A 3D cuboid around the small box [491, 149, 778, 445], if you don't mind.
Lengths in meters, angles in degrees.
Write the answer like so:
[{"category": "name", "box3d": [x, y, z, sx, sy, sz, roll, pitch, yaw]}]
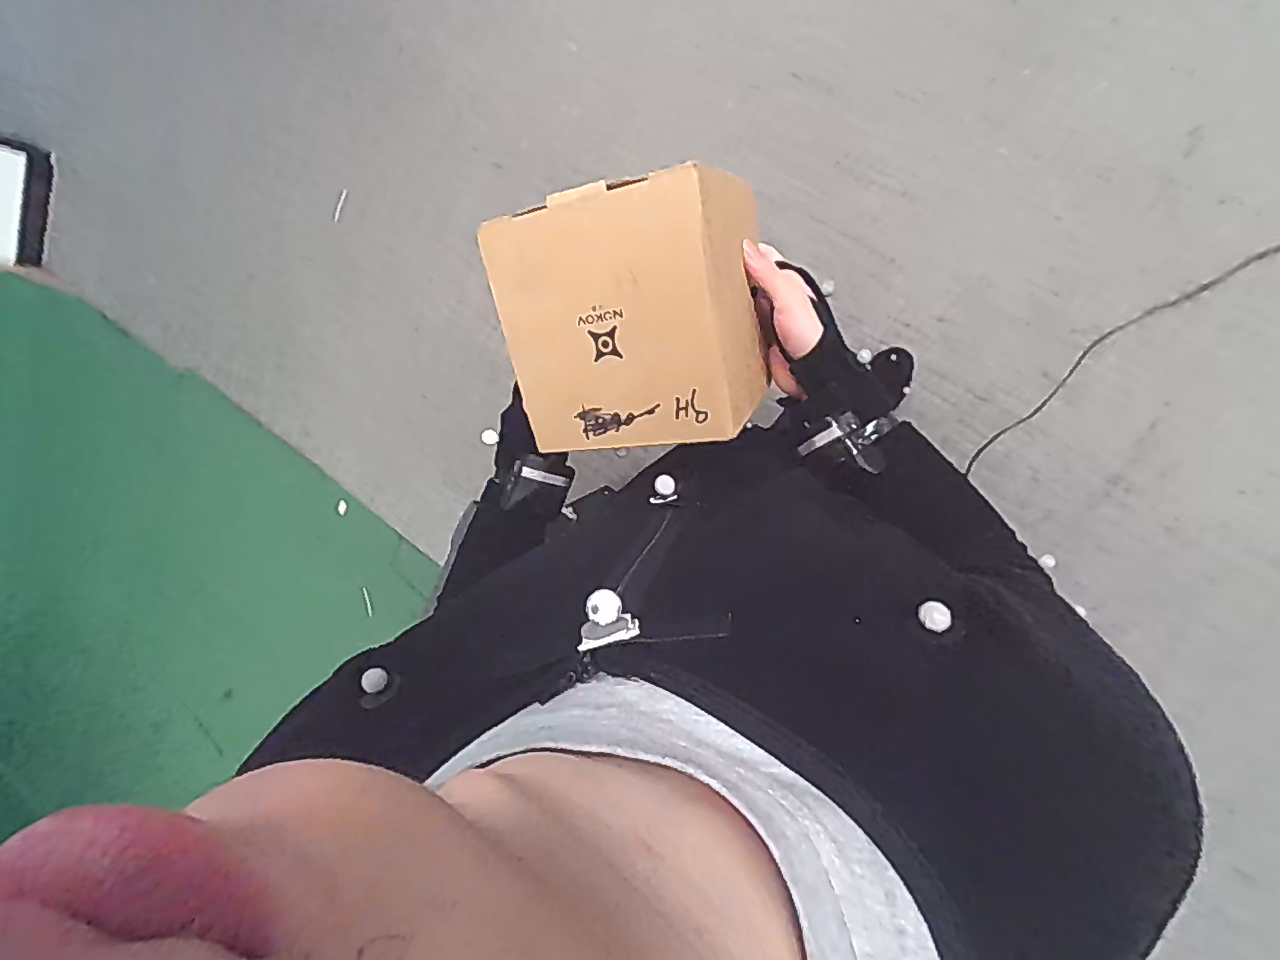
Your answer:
[{"category": "small box", "box3d": [0.013, -0.142, 0.444, 0.168, 0.176, 0.179, -3, 112, 25]}]
